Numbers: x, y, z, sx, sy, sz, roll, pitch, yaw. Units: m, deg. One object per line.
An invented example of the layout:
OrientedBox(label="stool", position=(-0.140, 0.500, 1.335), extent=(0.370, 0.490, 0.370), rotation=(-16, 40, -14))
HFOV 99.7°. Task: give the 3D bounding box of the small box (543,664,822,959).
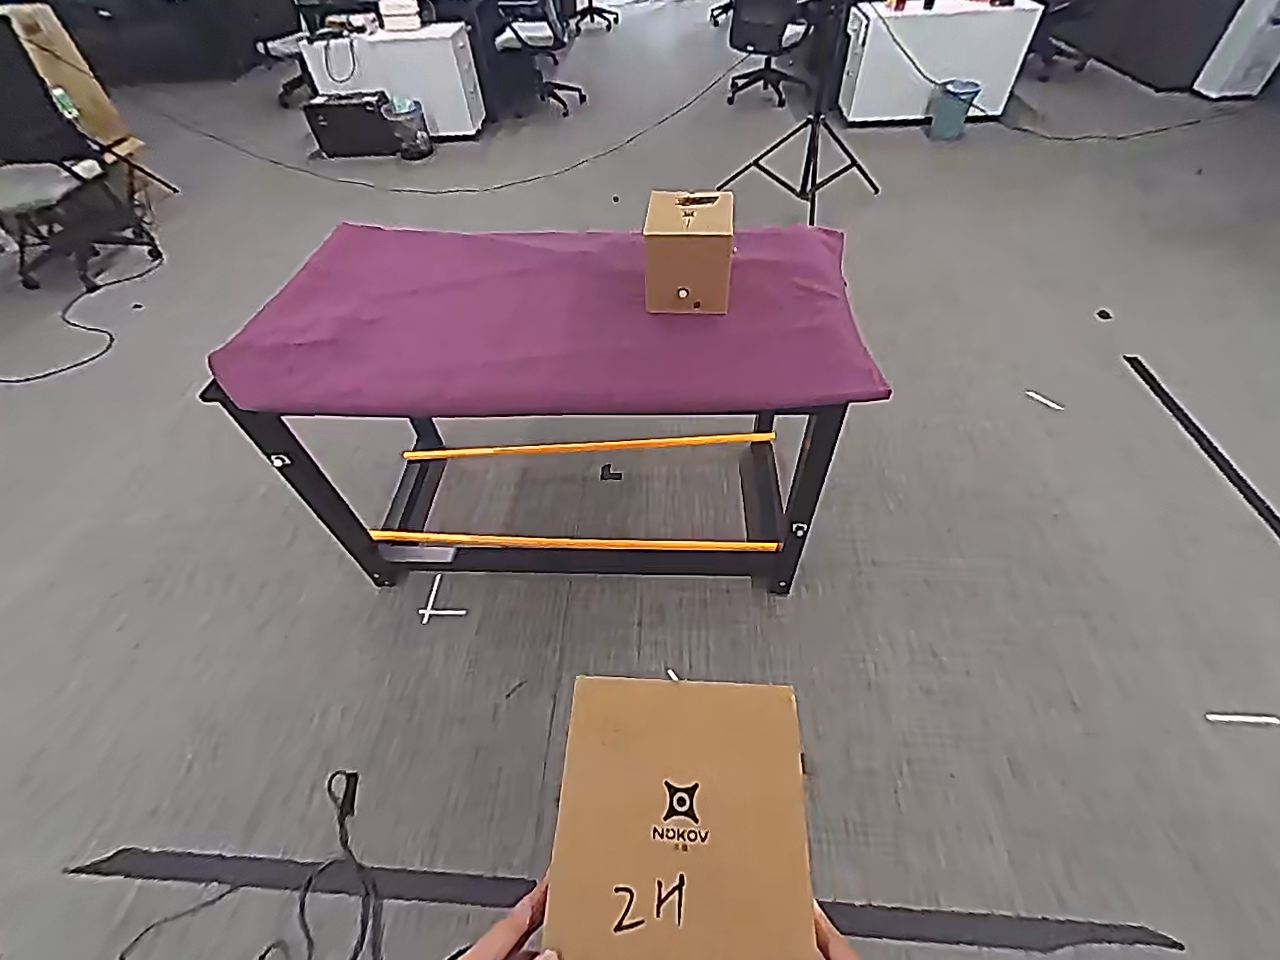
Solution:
OrientedBox(label="small box", position=(0.037, 0.260, 0.423), extent=(0.168, 0.176, 0.179), rotation=(0, 56, 8))

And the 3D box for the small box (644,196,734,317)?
OrientedBox(label="small box", position=(0.100, -0.454, 1.097), extent=(0.168, 0.176, 0.179), rotation=(3, 51, 6))
